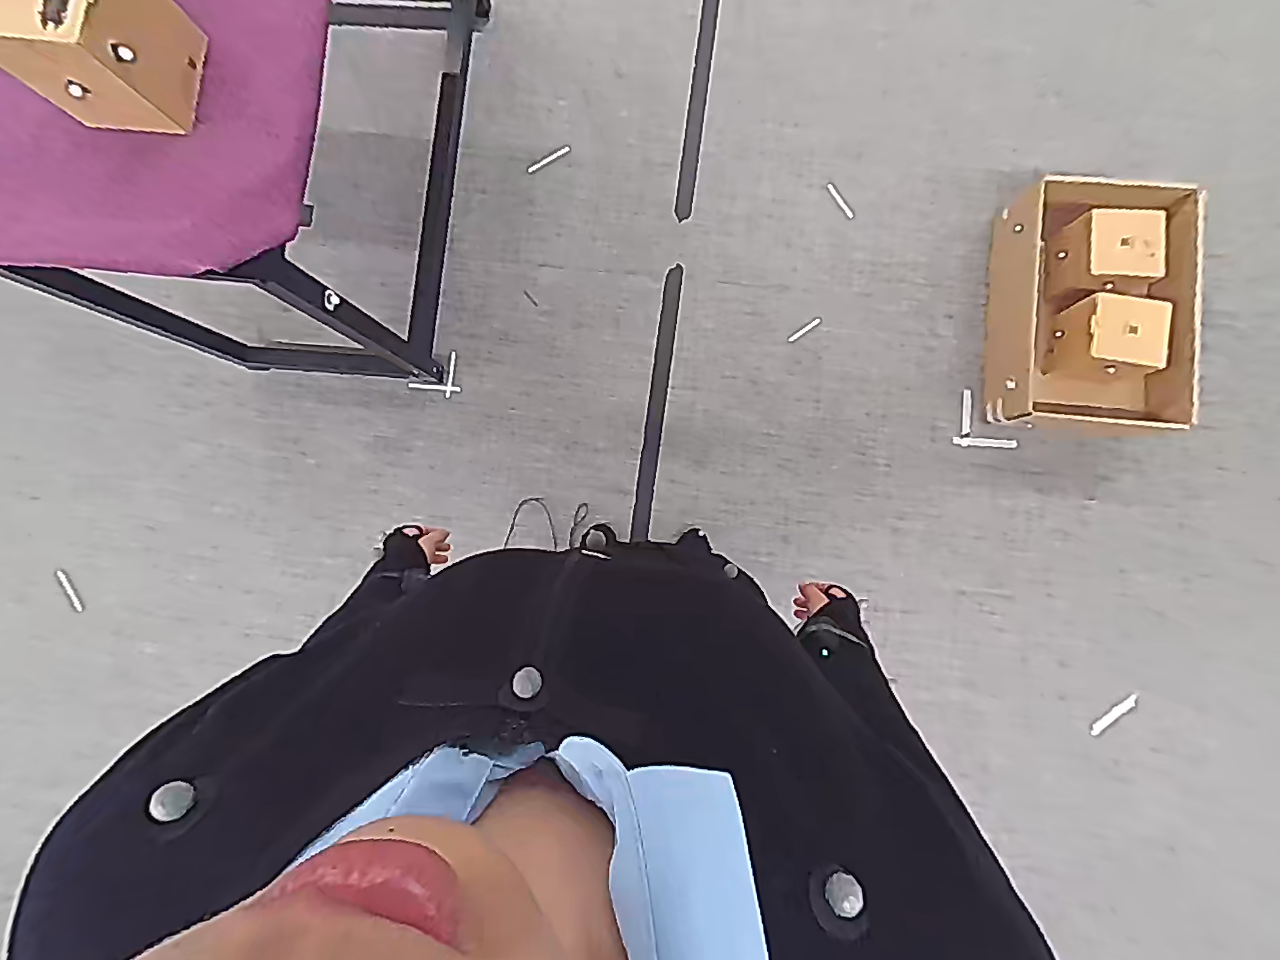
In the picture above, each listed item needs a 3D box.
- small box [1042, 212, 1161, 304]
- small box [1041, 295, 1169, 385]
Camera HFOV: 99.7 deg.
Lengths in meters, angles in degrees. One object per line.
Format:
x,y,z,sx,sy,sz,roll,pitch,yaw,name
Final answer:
1.183,-0.567,1.397,0.179,0.176,0.168,4,88,2,small box
1.181,-0.349,1.384,0.179,0.176,0.168,11,85,3,small box
